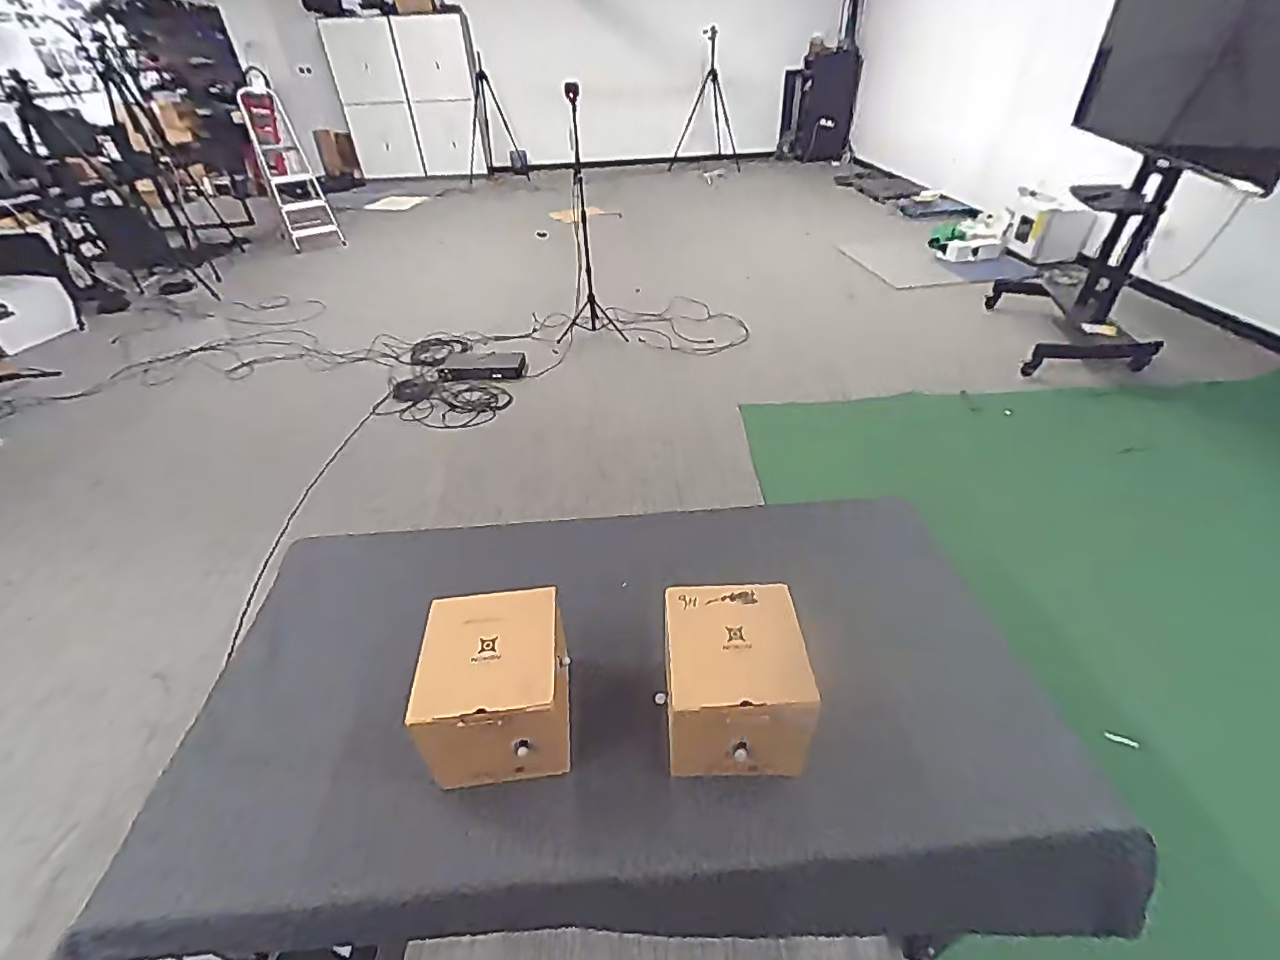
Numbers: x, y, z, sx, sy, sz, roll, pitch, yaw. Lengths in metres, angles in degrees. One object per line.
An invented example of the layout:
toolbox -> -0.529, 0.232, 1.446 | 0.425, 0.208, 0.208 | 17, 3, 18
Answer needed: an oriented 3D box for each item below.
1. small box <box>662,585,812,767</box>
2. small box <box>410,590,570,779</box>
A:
small box -> 0.117, 0.262, 0.717 | 0.168, 0.176, 0.179 | -2, 39, 1
small box -> -0.185, 0.276, 0.724 | 0.168, 0.176, 0.179 | -6, 37, -5
